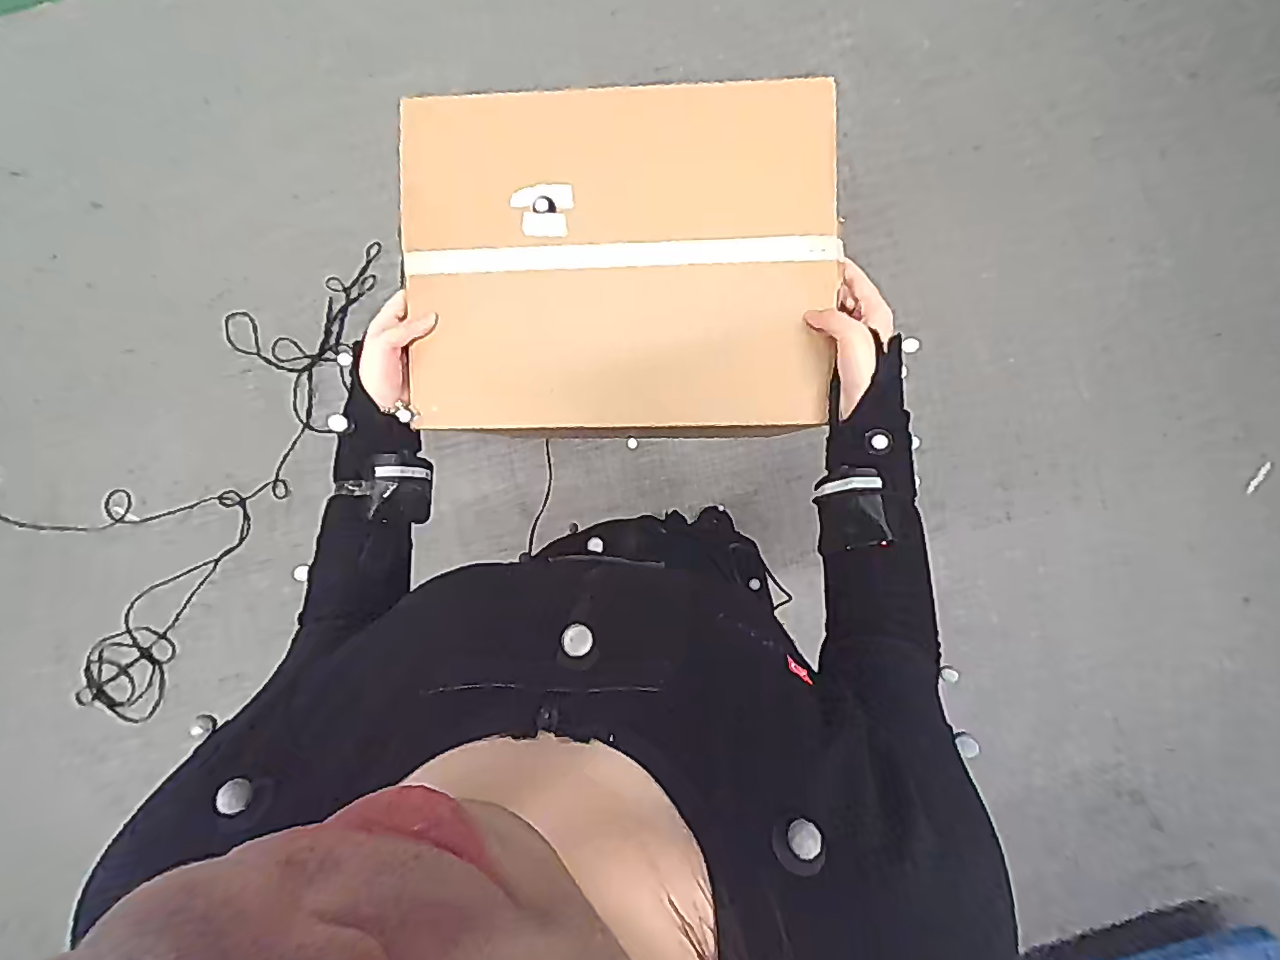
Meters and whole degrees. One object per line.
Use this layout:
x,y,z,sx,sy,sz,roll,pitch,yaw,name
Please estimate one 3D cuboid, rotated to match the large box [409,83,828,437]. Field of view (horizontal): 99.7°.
-0.010,-0.215,0.668,0.408,0.320,0.320,-1,92,5,large box
